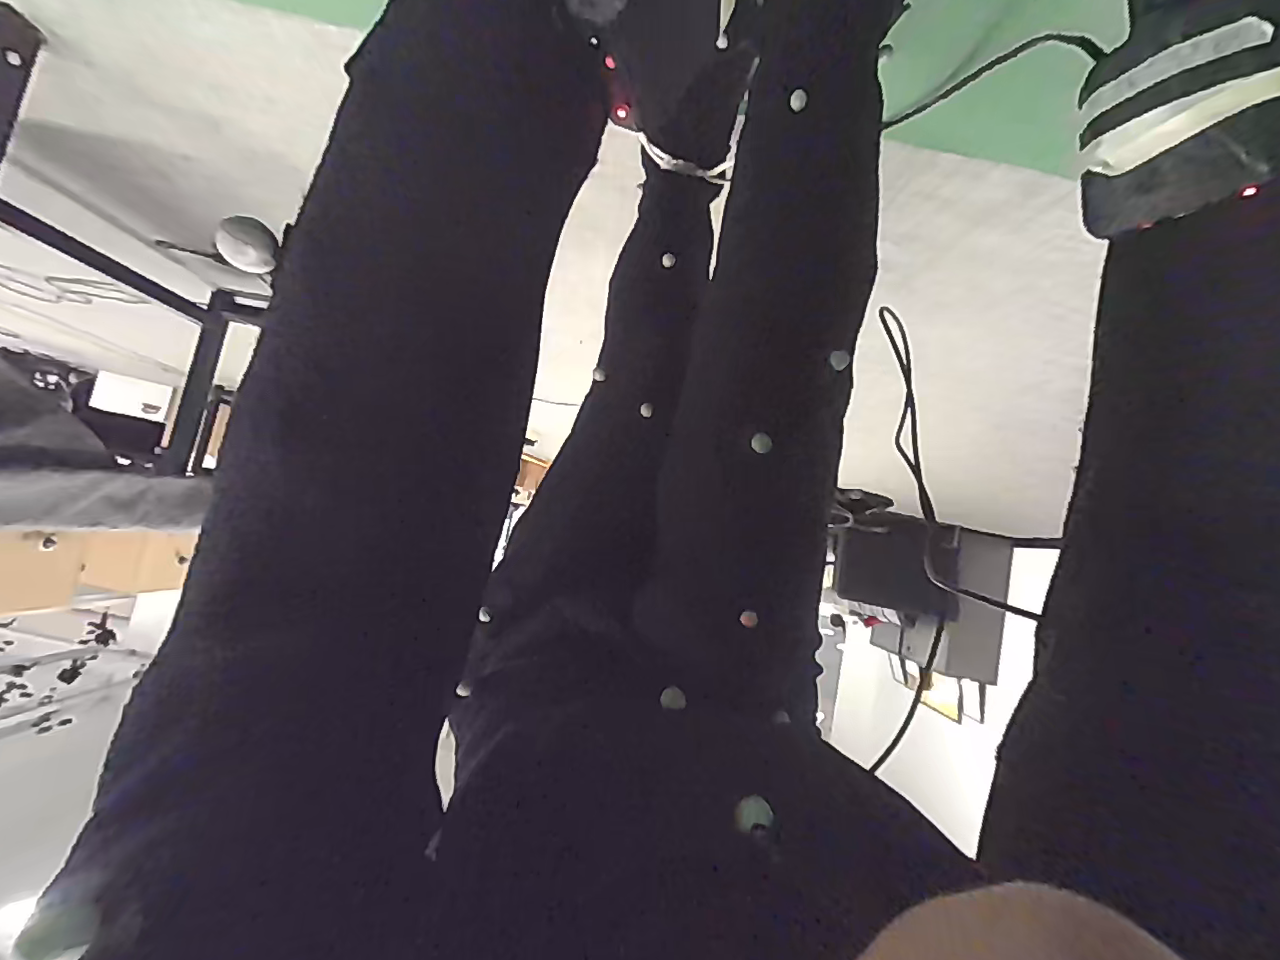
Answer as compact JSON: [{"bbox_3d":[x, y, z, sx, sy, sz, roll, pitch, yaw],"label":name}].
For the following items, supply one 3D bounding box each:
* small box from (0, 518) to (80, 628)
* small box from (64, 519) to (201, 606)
[{"bbox_3d":[-1.157,0.158,0.951,0.179,0.176,0.168,10,175,6],"label":"small box"},{"bbox_3d":[-1.185,0.189,1.274,0.179,0.176,0.168,11,174,5],"label":"small box"}]
